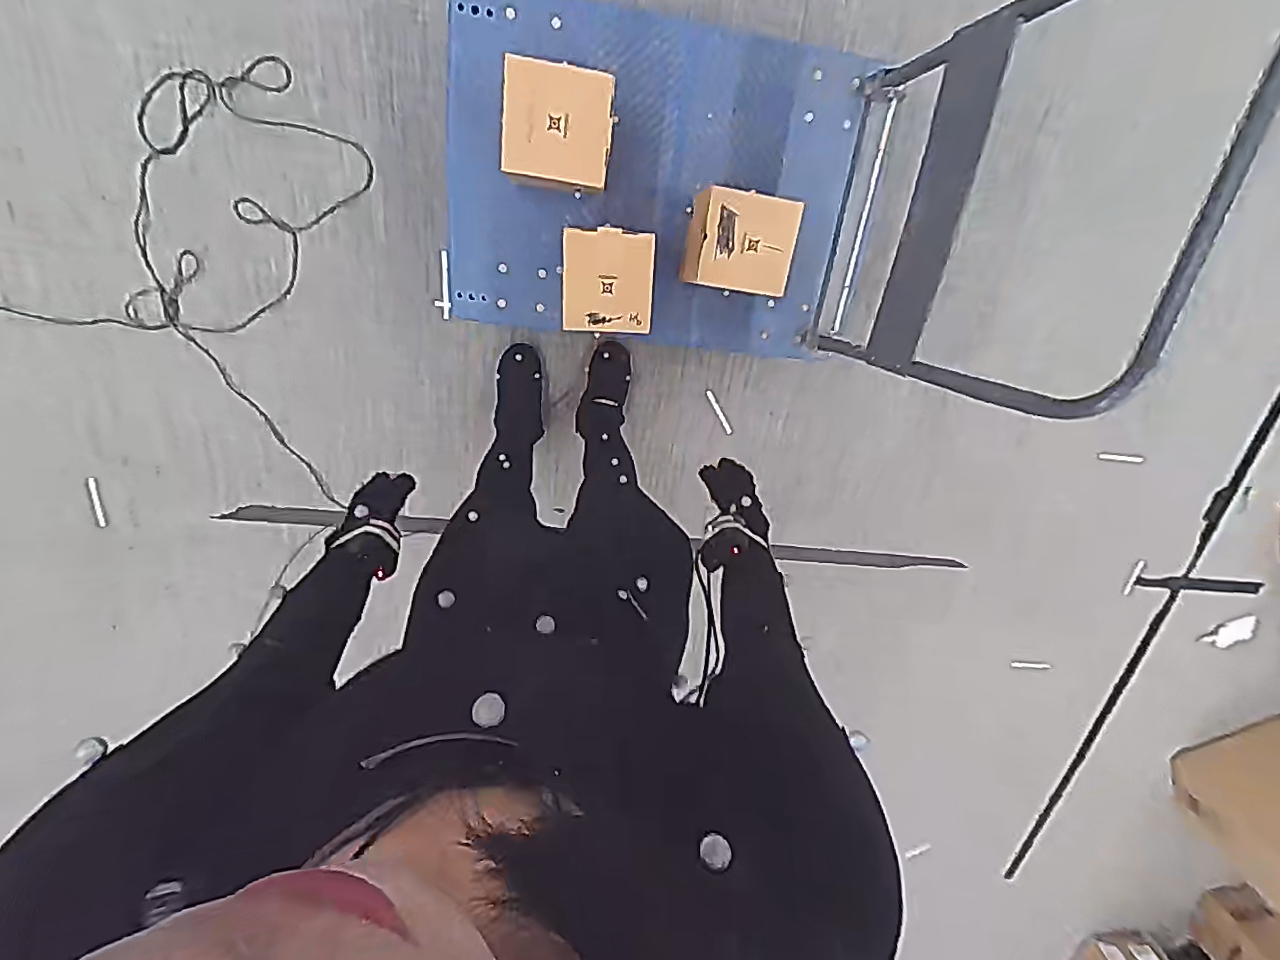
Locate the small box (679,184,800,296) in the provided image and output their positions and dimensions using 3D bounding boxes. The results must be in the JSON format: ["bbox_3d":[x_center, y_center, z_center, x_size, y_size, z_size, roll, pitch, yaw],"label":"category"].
[{"bbox_3d":[0.183,-0.464,1.063,0.179,0.176,0.168,6,111,-10],"label":"small box"}]

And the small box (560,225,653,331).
[{"bbox_3d":[-0.072,-0.394,1.063,0.168,0.176,0.179,1,111,-7],"label":"small box"}]

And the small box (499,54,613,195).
[{"bbox_3d":[-0.148,-0.616,0.961,0.179,0.176,0.168,5,111,-8],"label":"small box"}]
